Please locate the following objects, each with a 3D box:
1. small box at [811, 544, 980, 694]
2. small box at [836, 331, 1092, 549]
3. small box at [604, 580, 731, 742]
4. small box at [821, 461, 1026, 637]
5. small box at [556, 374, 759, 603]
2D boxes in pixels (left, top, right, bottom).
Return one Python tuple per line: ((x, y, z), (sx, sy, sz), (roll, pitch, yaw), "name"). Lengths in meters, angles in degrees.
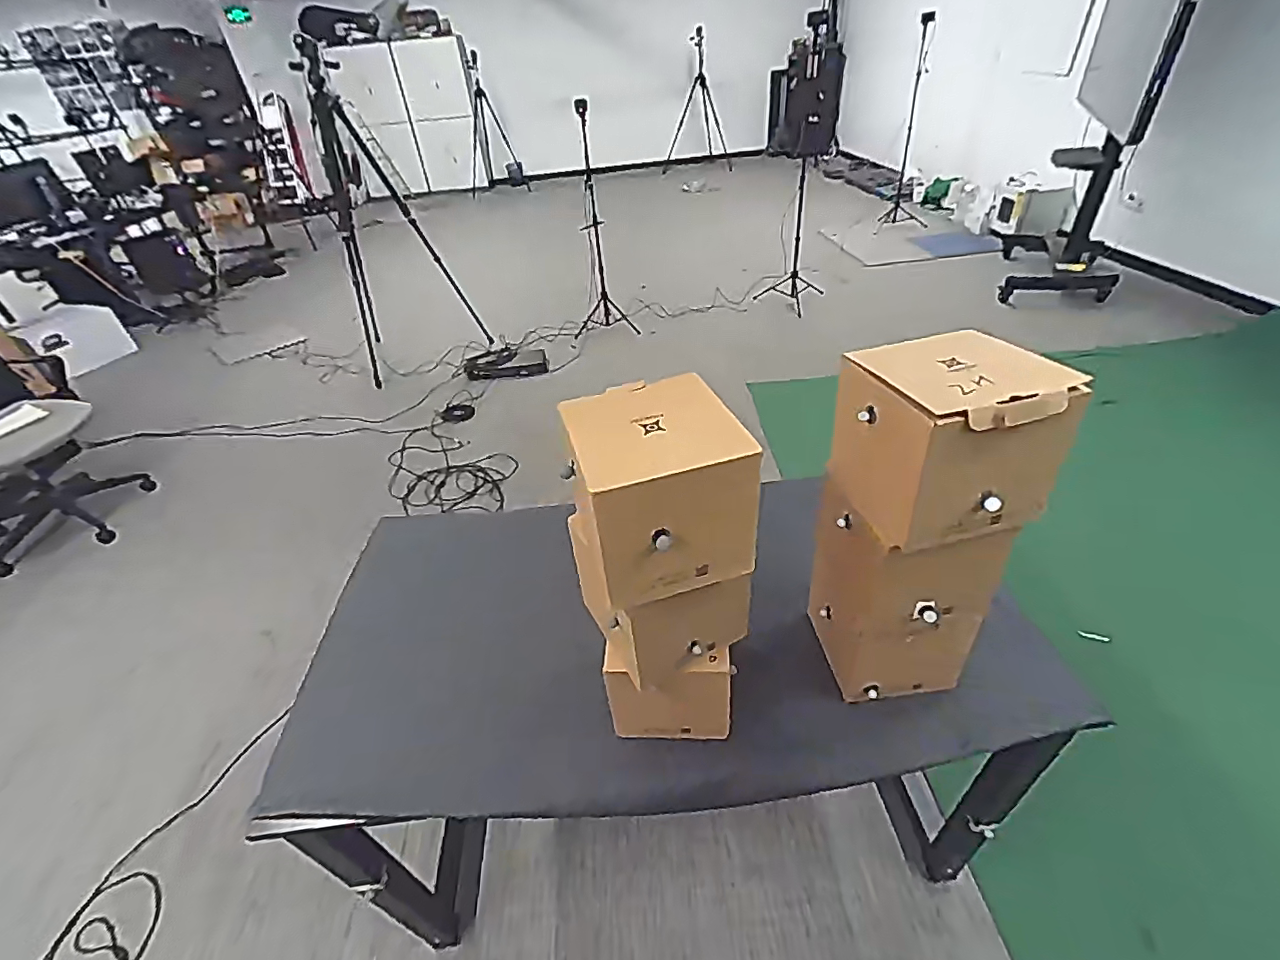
((0.370, 0.205, 0.821), (0.168, 0.176, 0.179), (-7, 35, 0), "small box")
((0.341, -0.049, 0.616), (0.168, 0.176, 0.179), (-13, 36, -5), "small box")
((0.046, 0.258, 0.802), (0.168, 0.176, 0.179), (-2, 37, 6), "small box")
((0.355, 0.078, 0.721), (0.168, 0.176, 0.179), (-10, 37, -3), "small box")
((0.017, 0.011, 0.588), (0.168, 0.176, 0.179), (-14, 38, -10), "small box")
